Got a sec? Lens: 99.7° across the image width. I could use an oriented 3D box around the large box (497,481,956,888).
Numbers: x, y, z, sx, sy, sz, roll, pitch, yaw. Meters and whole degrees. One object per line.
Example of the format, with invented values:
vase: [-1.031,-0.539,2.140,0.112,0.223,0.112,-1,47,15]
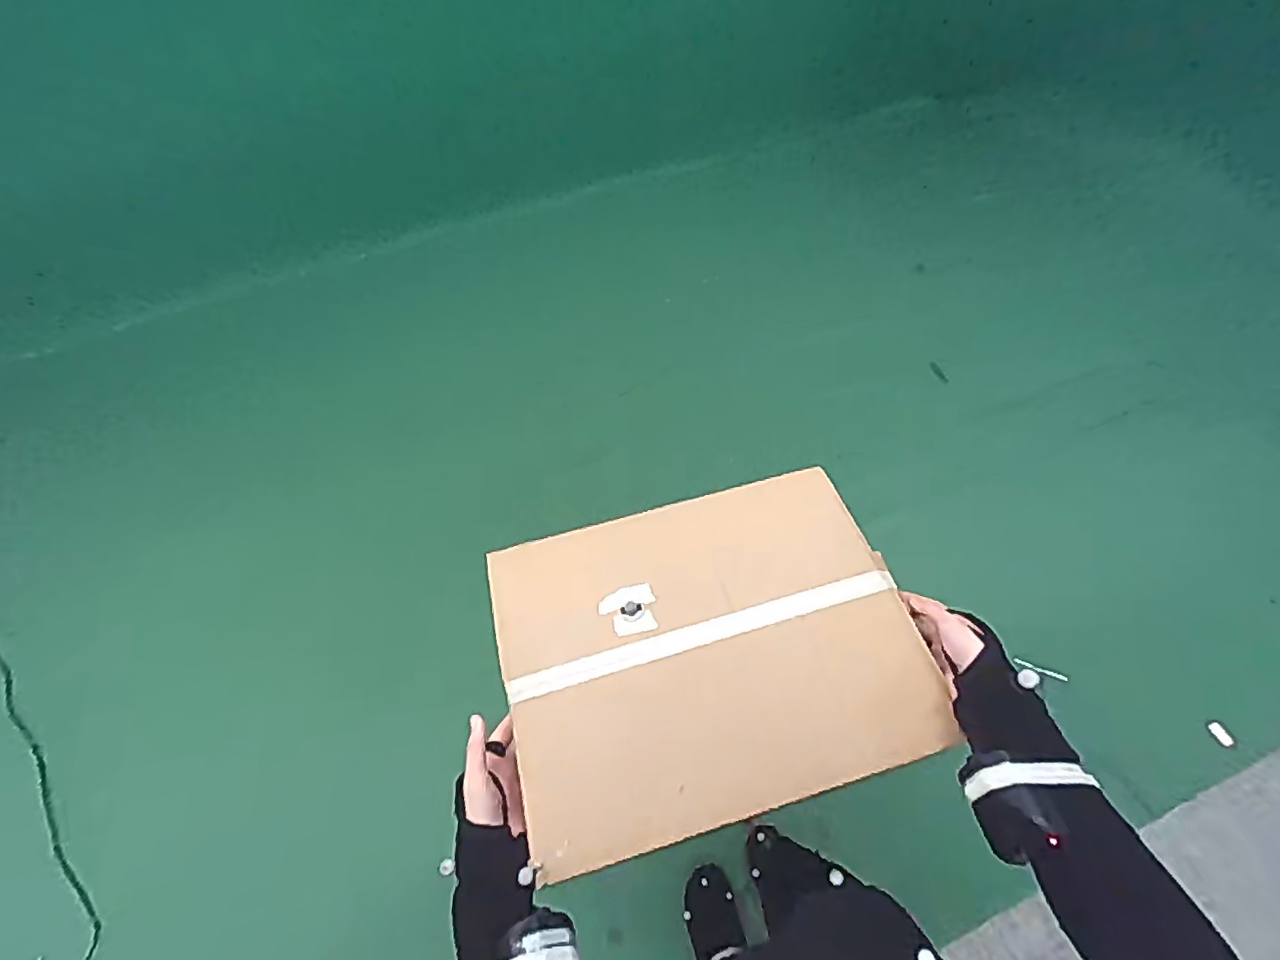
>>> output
large box: [0.075,0.251,0.682,0.408,0.320,0.320,-14,57,-6]
